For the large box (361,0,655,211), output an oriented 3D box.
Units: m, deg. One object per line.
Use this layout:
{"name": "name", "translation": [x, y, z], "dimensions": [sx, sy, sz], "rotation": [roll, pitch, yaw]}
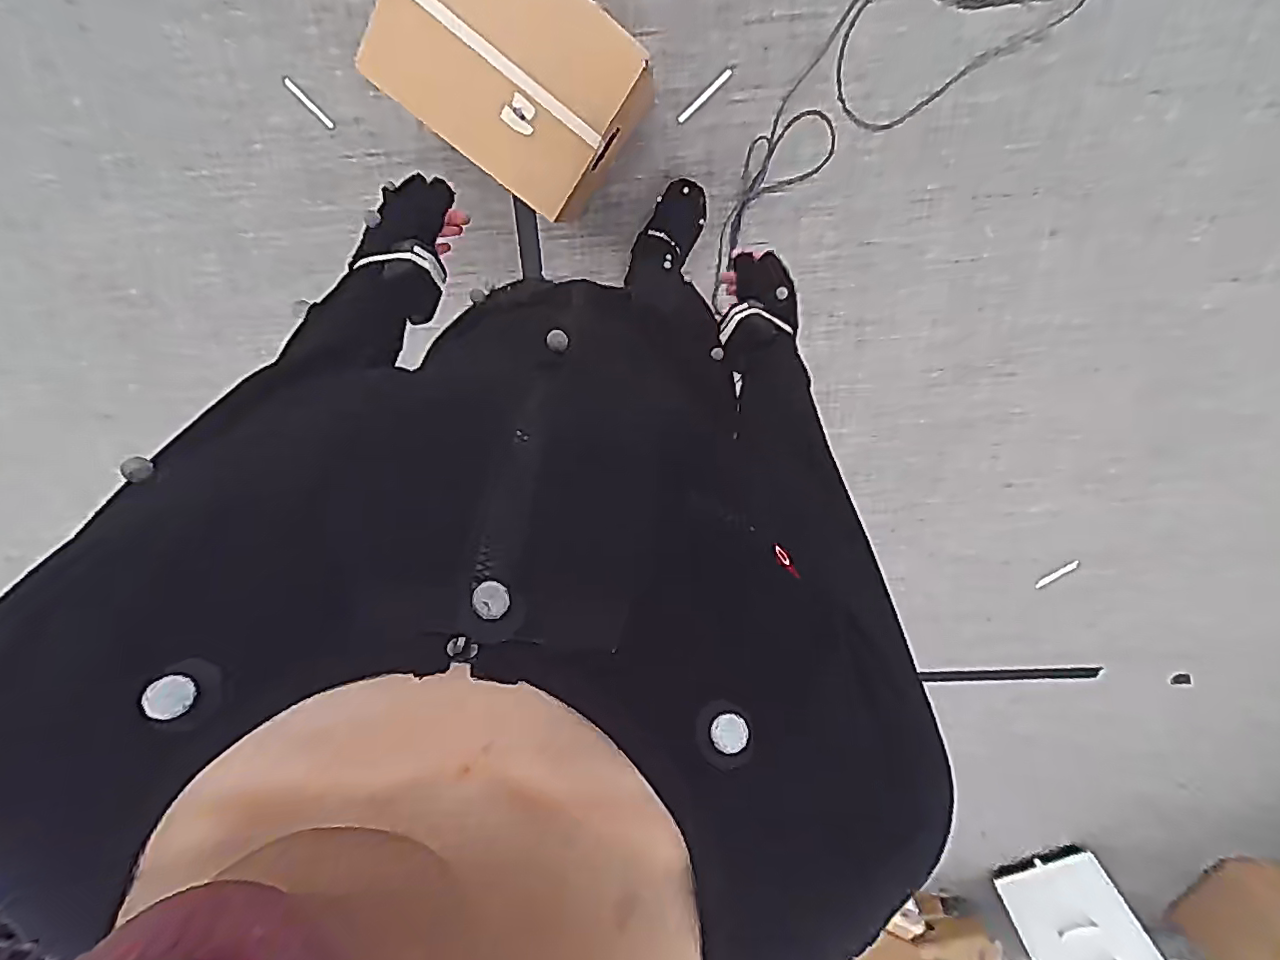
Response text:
{"name": "large box", "translation": [-0.223, -0.776, 1.033], "dimensions": [0.408, 0.320, 0.320], "rotation": [33, 113, -15]}
